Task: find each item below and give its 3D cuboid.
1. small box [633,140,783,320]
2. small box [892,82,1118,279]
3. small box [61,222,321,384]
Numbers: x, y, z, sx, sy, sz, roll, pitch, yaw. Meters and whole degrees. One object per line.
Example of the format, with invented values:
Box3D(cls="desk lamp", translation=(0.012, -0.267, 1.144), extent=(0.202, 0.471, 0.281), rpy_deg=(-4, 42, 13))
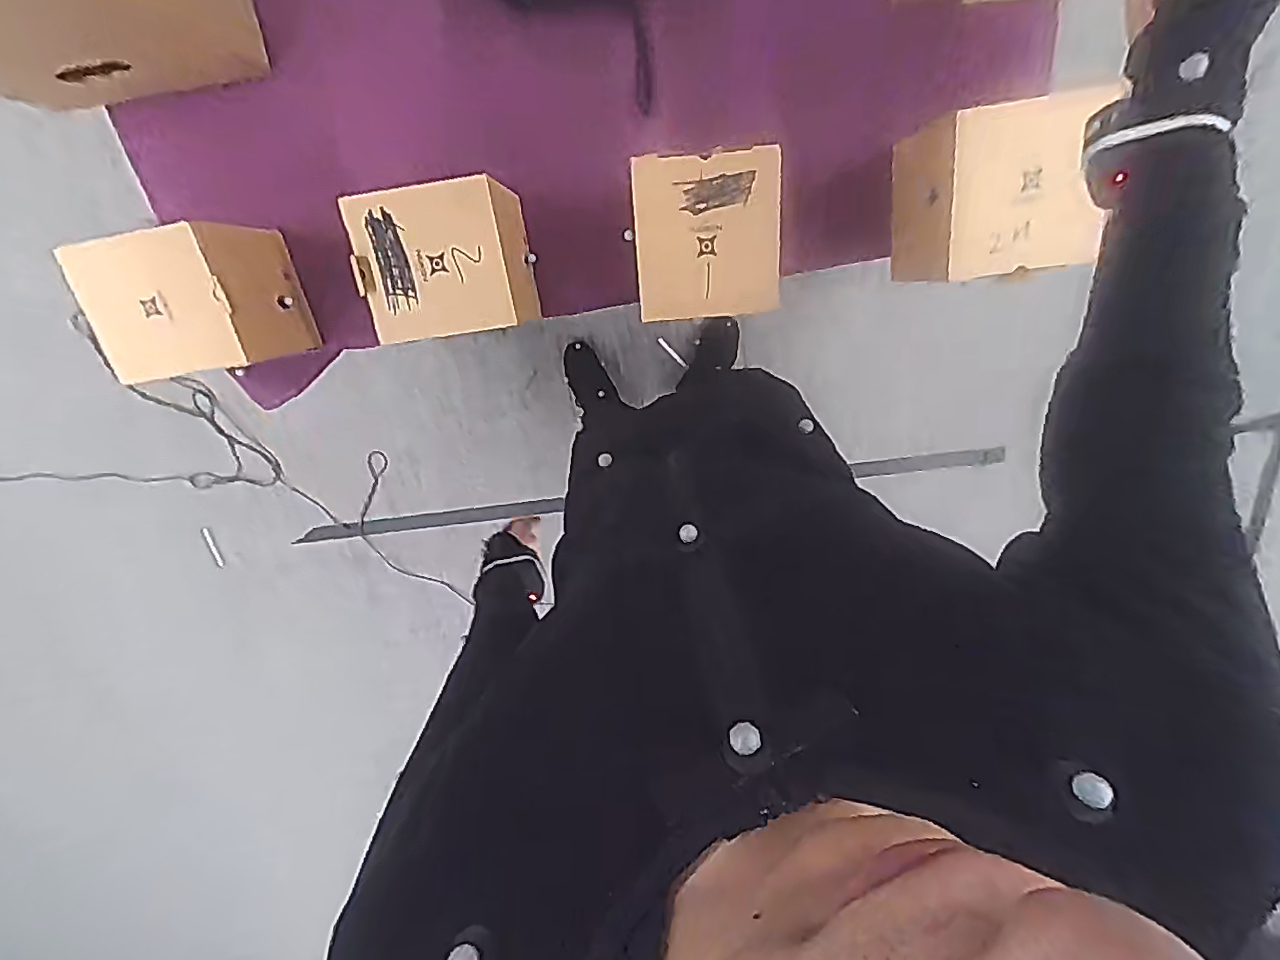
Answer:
Box3D(cls="small box", translation=(0.082, -0.304, 0.688), extent=(0.168, 0.176, 0.179), rpy_deg=(-5, 109, 4))
Box3D(cls="small box", translation=(0.425, -0.349, 0.665), extent=(0.168, 0.176, 0.179), rpy_deg=(-7, 111, 5))
Box3D(cls="small box", translation=(-0.580, -0.236, 0.728), extent=(0.179, 0.176, 0.168), rpy_deg=(-10, 110, 3))
